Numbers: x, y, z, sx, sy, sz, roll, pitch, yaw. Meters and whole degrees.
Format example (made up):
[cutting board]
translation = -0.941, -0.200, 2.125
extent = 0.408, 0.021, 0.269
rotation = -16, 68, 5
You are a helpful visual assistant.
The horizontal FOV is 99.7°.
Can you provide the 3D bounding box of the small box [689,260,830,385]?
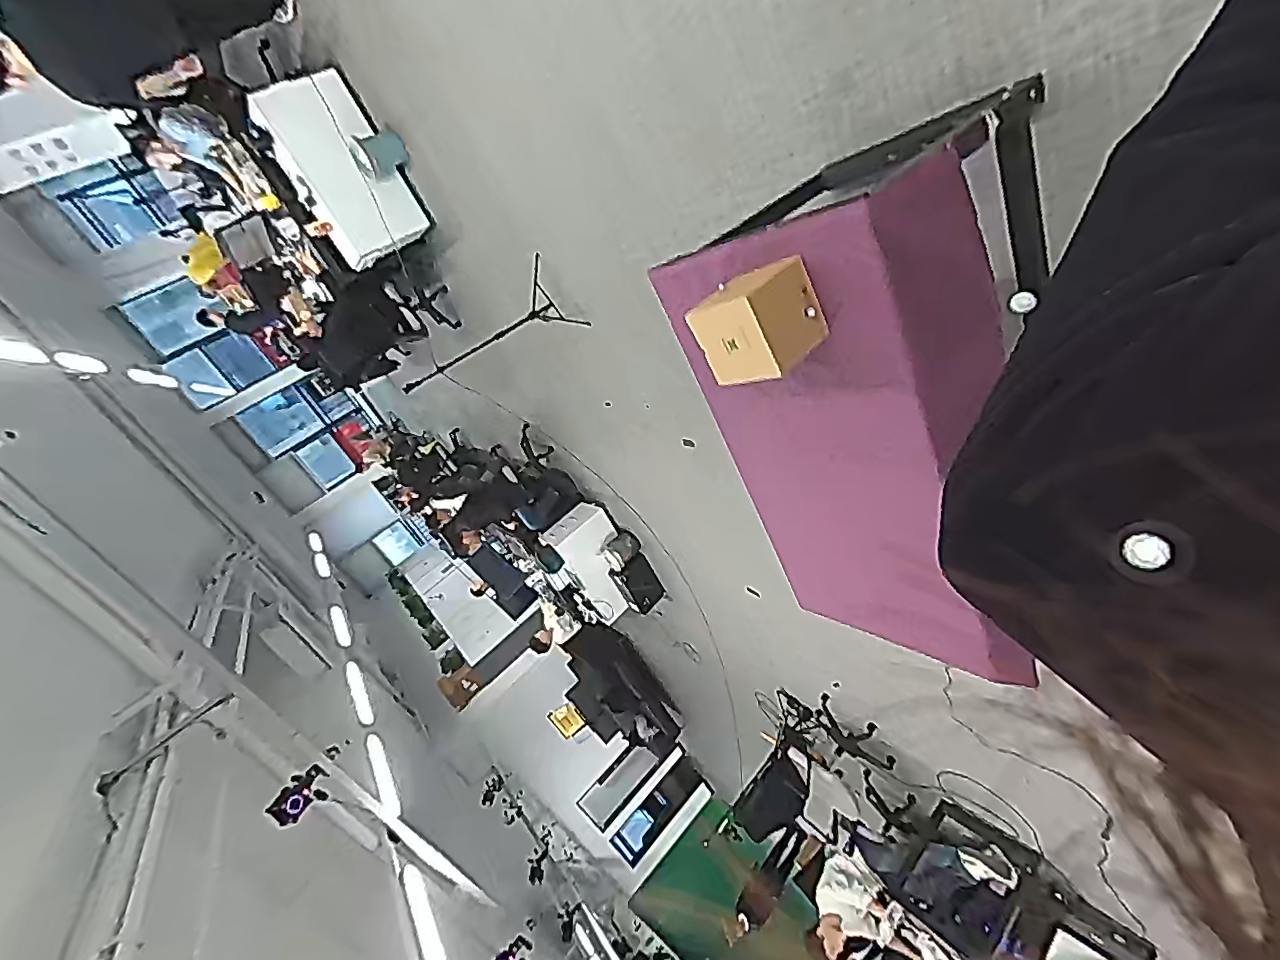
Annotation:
[small box]
translation = 0.237, -0.306, 1.070
extent = 0.179, 0.176, 0.168
rotation = 8, 135, 58
